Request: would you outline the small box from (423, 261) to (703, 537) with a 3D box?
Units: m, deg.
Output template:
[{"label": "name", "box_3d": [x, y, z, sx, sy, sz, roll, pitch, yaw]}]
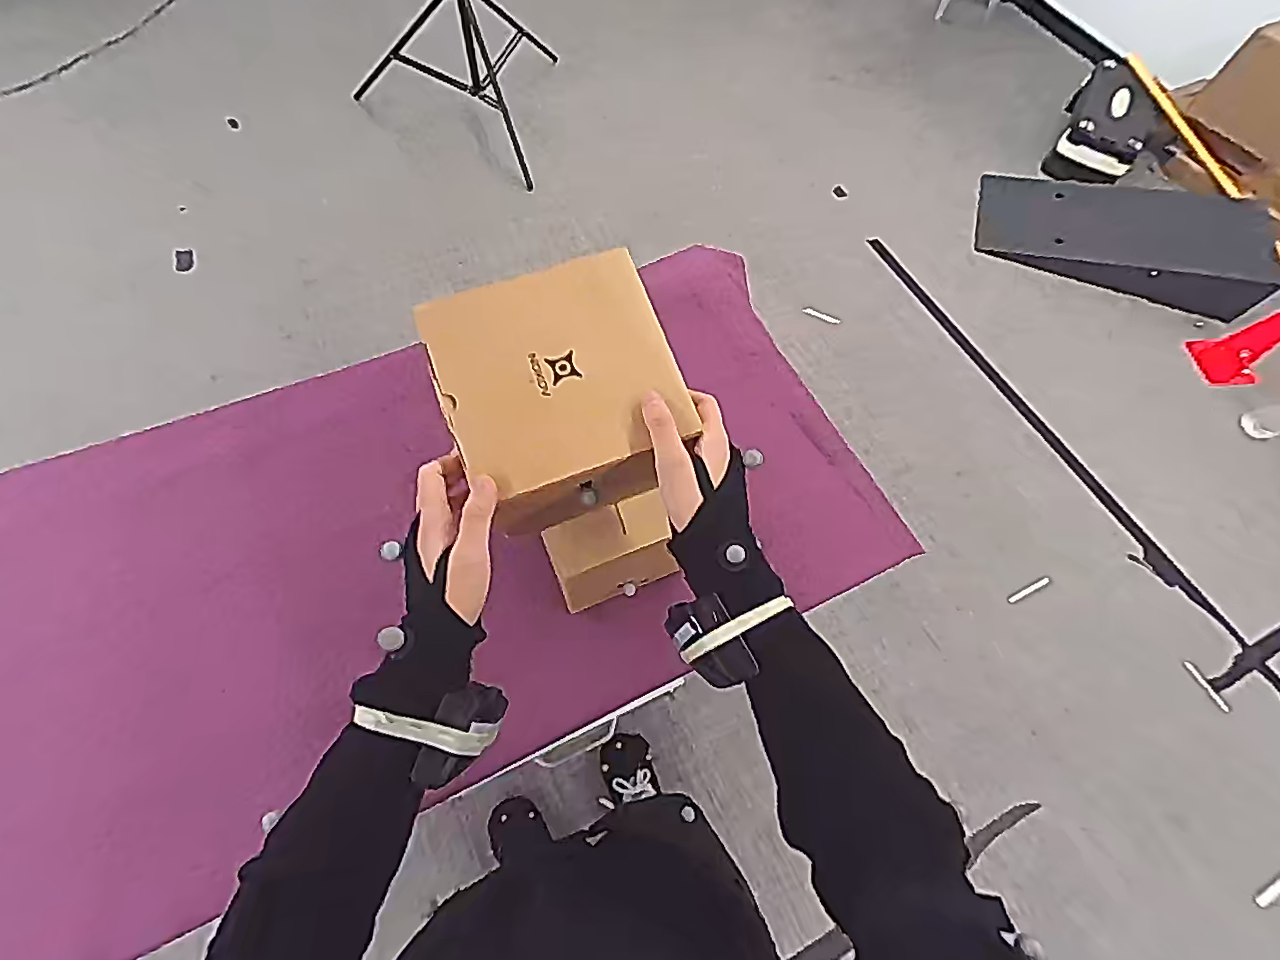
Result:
[{"label": "small box", "box_3d": [-0.066, -0.059, 0.489, 0.179, 0.176, 0.168, -20, 79, -8]}]

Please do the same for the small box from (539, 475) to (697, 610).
[{"label": "small box", "box_3d": [-0.048, 0.042, 0.689, 0.168, 0.176, 0.179, -20, 67, -13]}]
